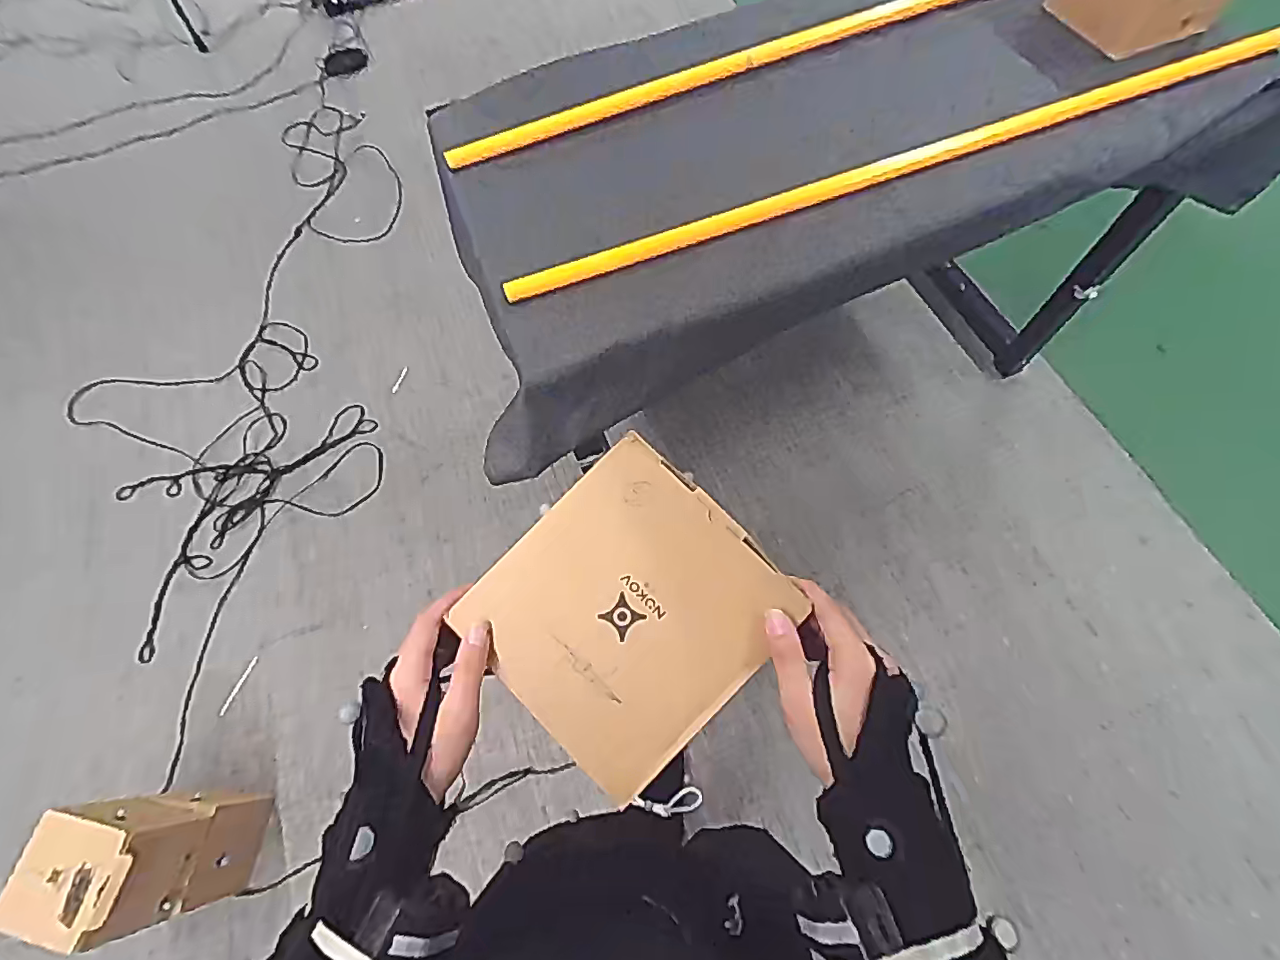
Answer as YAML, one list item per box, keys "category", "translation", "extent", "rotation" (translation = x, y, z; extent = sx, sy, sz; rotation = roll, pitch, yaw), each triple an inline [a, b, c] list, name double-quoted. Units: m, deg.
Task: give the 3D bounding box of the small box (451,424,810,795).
- category: "small box"
  translation: [-0.004, 0.087, 0.423]
  extent: [0.168, 0.176, 0.179]
  rotation: [43, 87, 8]

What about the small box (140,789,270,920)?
- category: "small box"
  translation: [-0.895, 0.738, 1.085]
  extent: [0.168, 0.176, 0.179]
  rotation: [3, 66, 7]

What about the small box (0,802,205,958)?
- category: "small box"
  translation: [-0.920, 0.673, 0.935]
  extent: [0.179, 0.176, 0.168]
  rotation: [8, 66, 10]

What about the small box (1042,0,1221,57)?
- category: "small box"
  translation: [0.762, -0.770, 0.801]
  extent: [0.168, 0.176, 0.179]
  rotation: [-21, 65, -3]
